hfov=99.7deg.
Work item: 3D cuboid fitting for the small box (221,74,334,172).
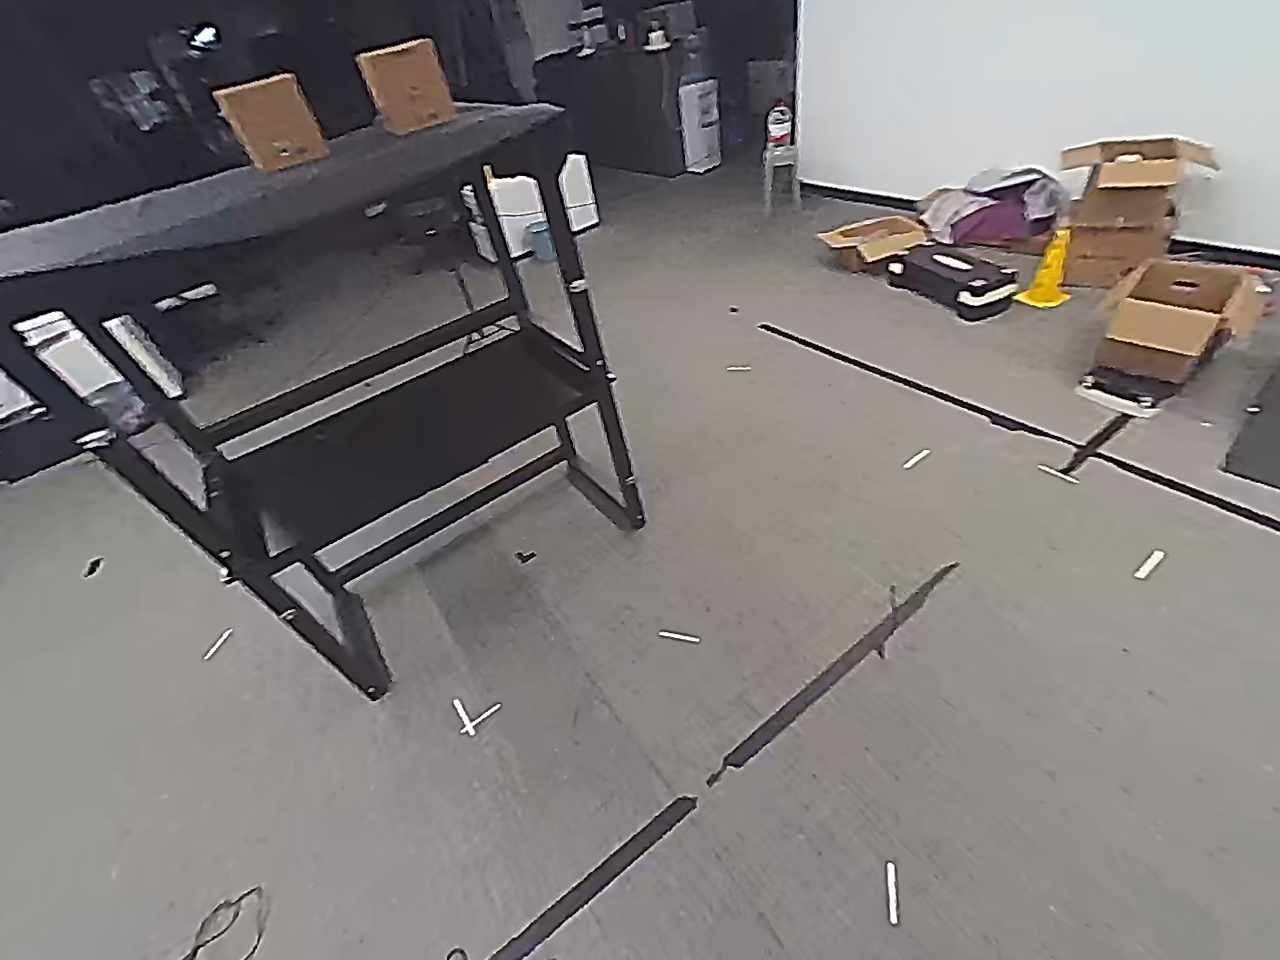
[{"bbox_3d":[-0.895,-0.882,1.340,0.168,0.176,0.179,-32,46,-18],"label":"small box"}]

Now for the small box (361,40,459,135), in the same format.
[{"bbox_3d":[-0.597,-1.025,1.415,0.168,0.176,0.179,-27,46,-15],"label":"small box"}]
